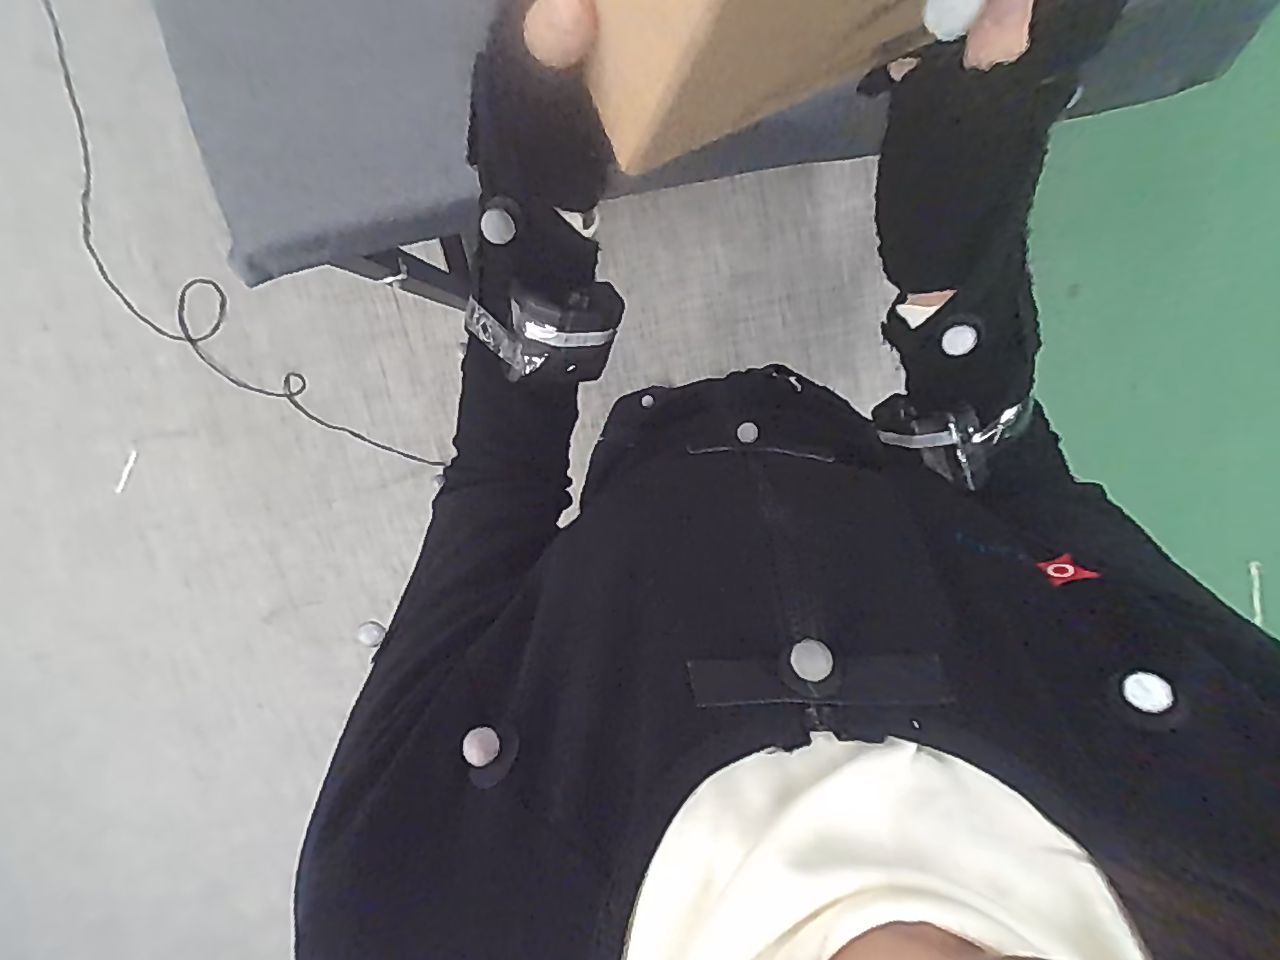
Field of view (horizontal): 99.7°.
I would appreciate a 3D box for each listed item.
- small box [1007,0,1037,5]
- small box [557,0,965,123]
[{"bbox_3d":[0.437,-0.594,0.496,0.168,0.176,0.179,-16,97,6],"label":"small box"},{"bbox_3d":[0.046,-0.217,0.120,0.168,0.176,0.179,-27,106,-5],"label":"small box"}]
